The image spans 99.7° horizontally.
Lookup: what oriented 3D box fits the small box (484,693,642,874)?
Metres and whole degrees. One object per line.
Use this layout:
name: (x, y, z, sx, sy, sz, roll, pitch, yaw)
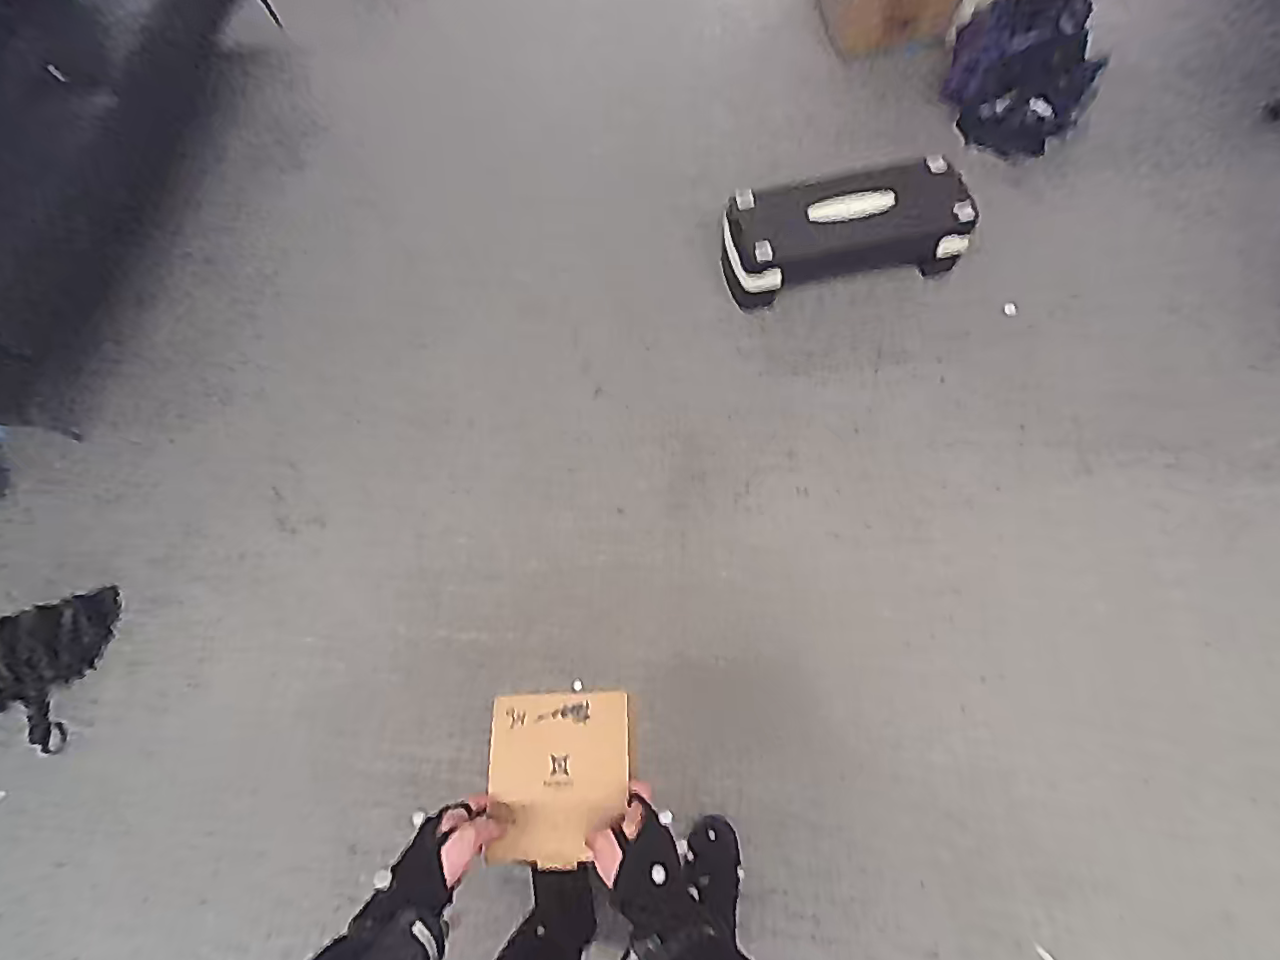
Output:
small box: (-0.086, 0.368, 0.684, 0.168, 0.176, 0.179, -4, 69, 2)
